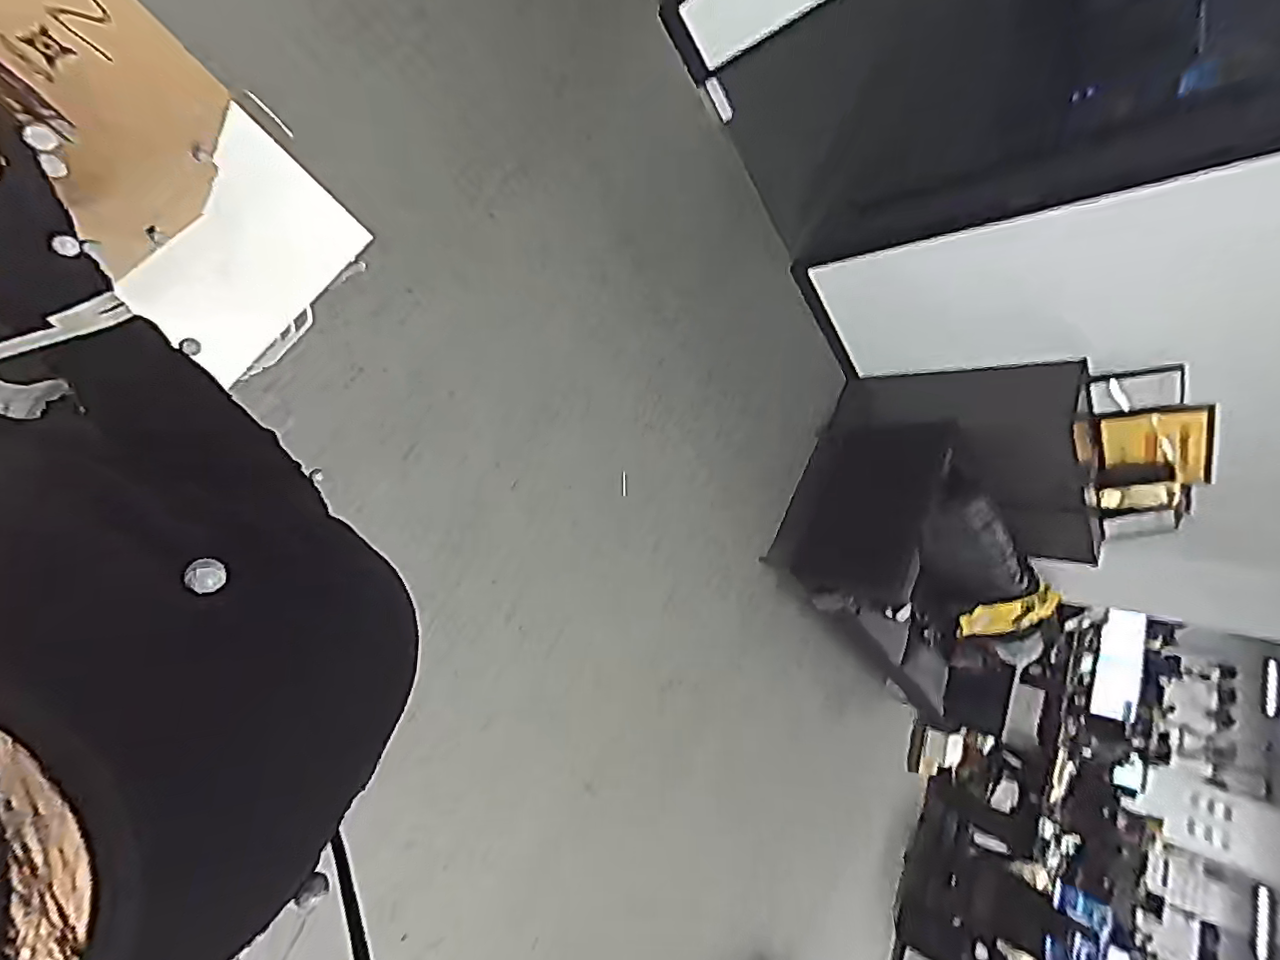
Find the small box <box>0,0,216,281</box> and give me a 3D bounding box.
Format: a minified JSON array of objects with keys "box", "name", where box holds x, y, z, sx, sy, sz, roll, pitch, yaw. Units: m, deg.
[{"box":[-0.599,-0.337,0.561,0.168,0.176,0.179,49,61,-35],"name":"small box"}]
